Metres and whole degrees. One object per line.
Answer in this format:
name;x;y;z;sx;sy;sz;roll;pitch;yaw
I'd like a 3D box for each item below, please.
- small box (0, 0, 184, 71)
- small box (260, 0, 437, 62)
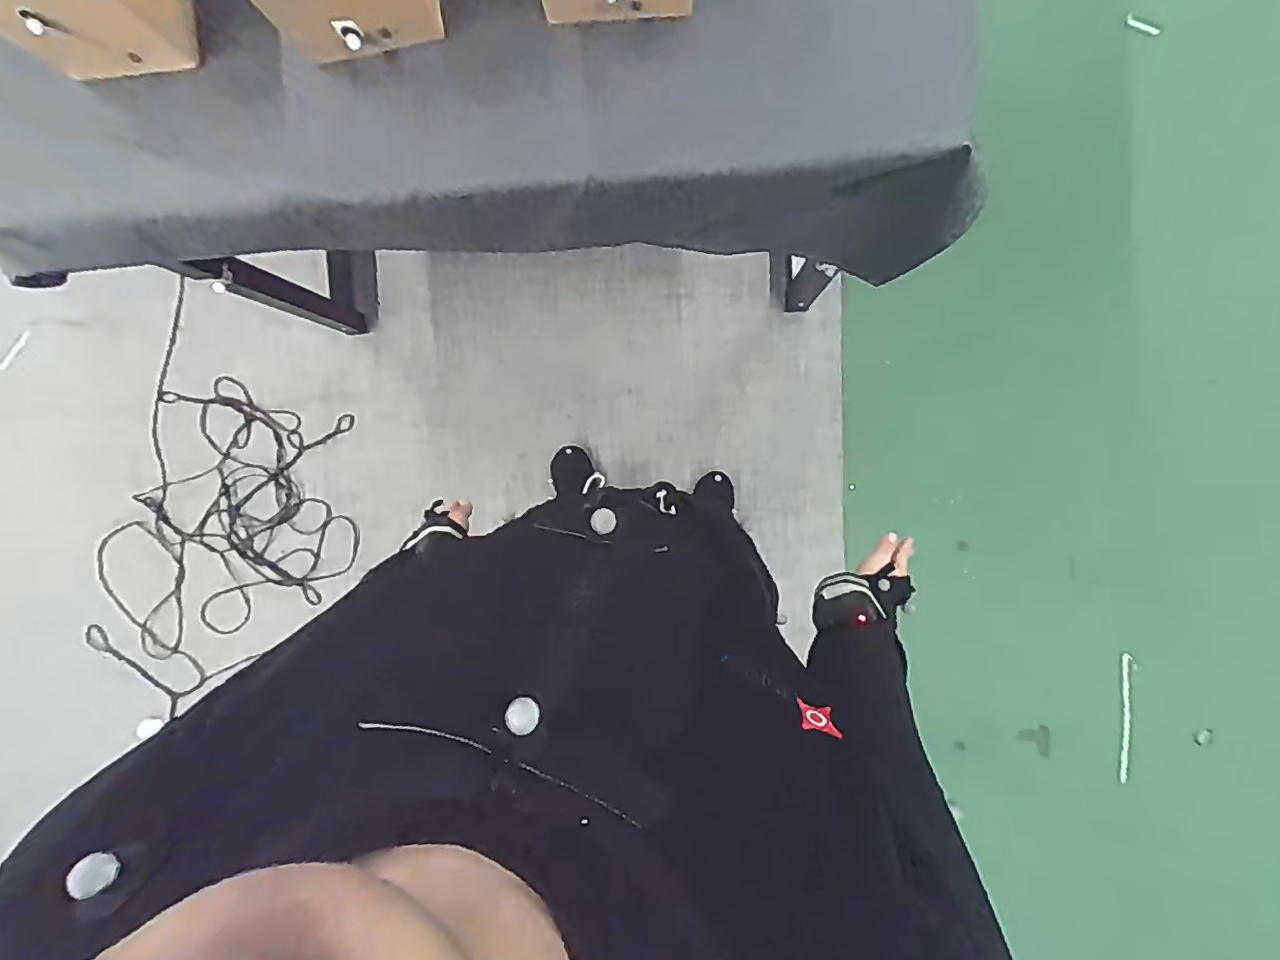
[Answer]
small box;-0.629;-0.571;0.568;0.168;0.176;0.179;-4;91;4
small box;-0.330;-0.583;0.547;0.168;0.176;0.179;-9;92;6
